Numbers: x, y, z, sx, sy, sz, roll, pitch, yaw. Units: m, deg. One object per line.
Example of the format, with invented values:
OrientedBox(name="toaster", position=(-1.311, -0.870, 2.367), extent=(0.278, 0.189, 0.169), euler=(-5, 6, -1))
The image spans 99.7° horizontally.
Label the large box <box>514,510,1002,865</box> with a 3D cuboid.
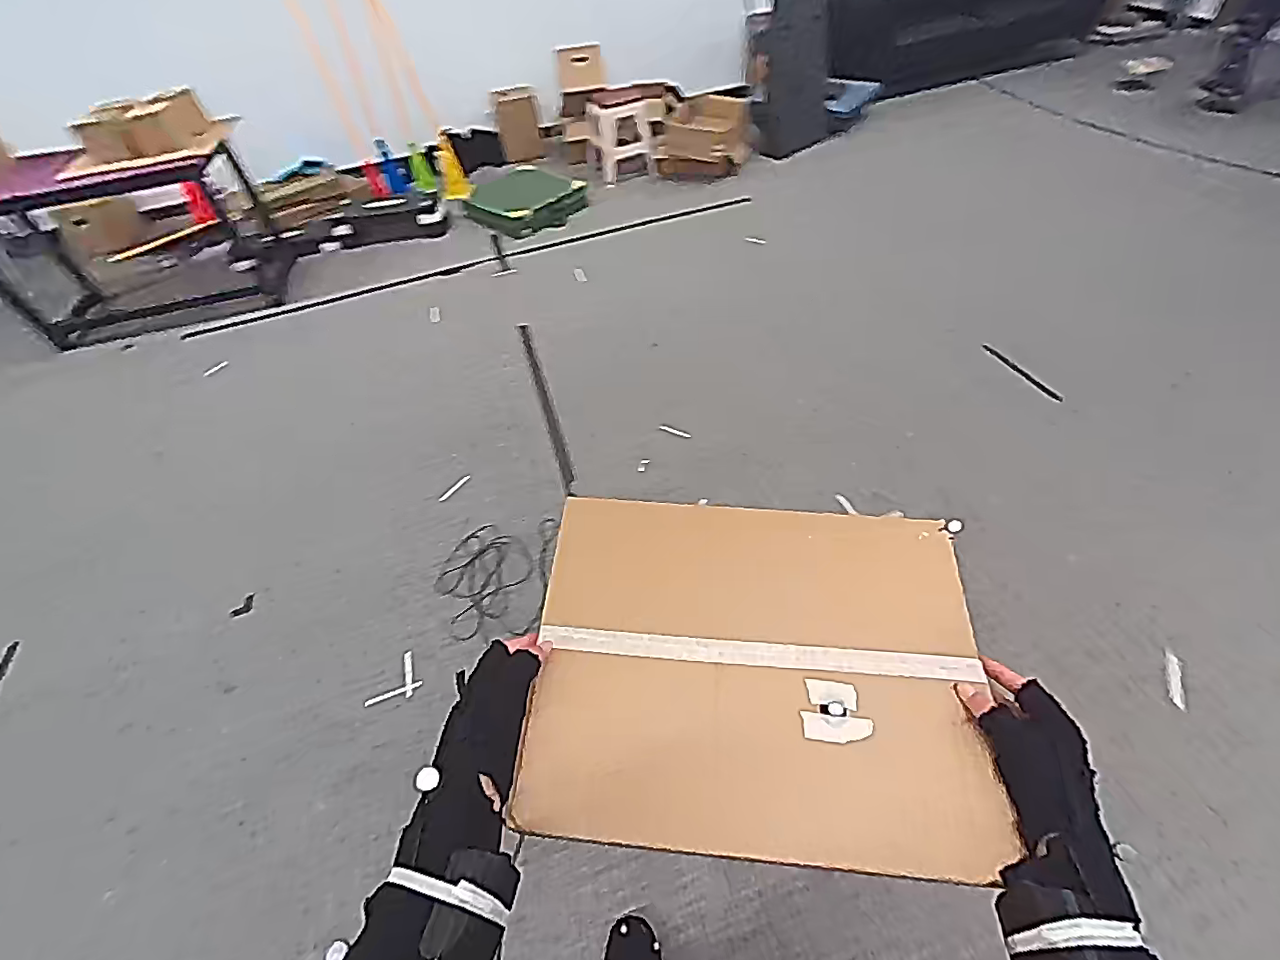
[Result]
OrientedBox(name="large box", position=(0.103, 0.250, 0.642), extent=(0.408, 0.320, 0.320), euler=(3, 57, 4))
